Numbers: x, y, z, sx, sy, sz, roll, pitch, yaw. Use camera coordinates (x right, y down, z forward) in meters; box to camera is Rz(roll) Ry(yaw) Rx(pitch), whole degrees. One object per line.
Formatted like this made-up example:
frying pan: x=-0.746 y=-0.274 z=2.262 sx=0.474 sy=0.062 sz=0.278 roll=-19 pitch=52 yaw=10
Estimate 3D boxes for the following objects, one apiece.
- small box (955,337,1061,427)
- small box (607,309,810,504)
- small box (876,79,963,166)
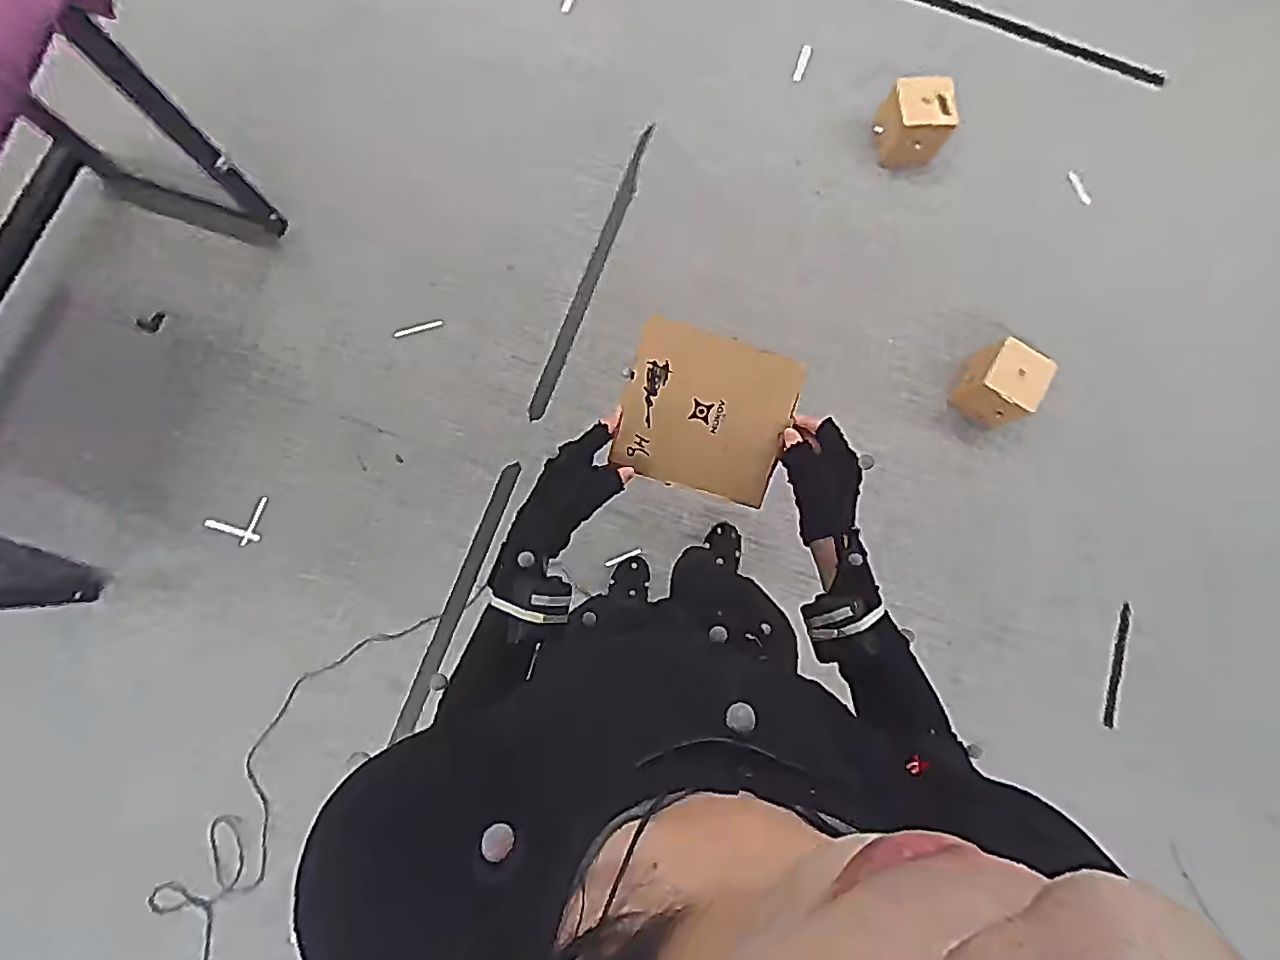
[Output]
small box: x=1.067 y=-0.277 z=1.585 sx=0.168 sy=0.176 sz=0.179 roll=32 pitch=80 yaw=1
small box: x=0.066 y=-0.085 z=0.638 sx=0.179 sy=0.176 sz=0.168 roll=16 pitch=97 yaw=-6
small box: x=0.874 y=-1.120 z=1.703 sx=0.179 sy=0.176 sz=0.168 roll=-3 pitch=81 yaw=-3
